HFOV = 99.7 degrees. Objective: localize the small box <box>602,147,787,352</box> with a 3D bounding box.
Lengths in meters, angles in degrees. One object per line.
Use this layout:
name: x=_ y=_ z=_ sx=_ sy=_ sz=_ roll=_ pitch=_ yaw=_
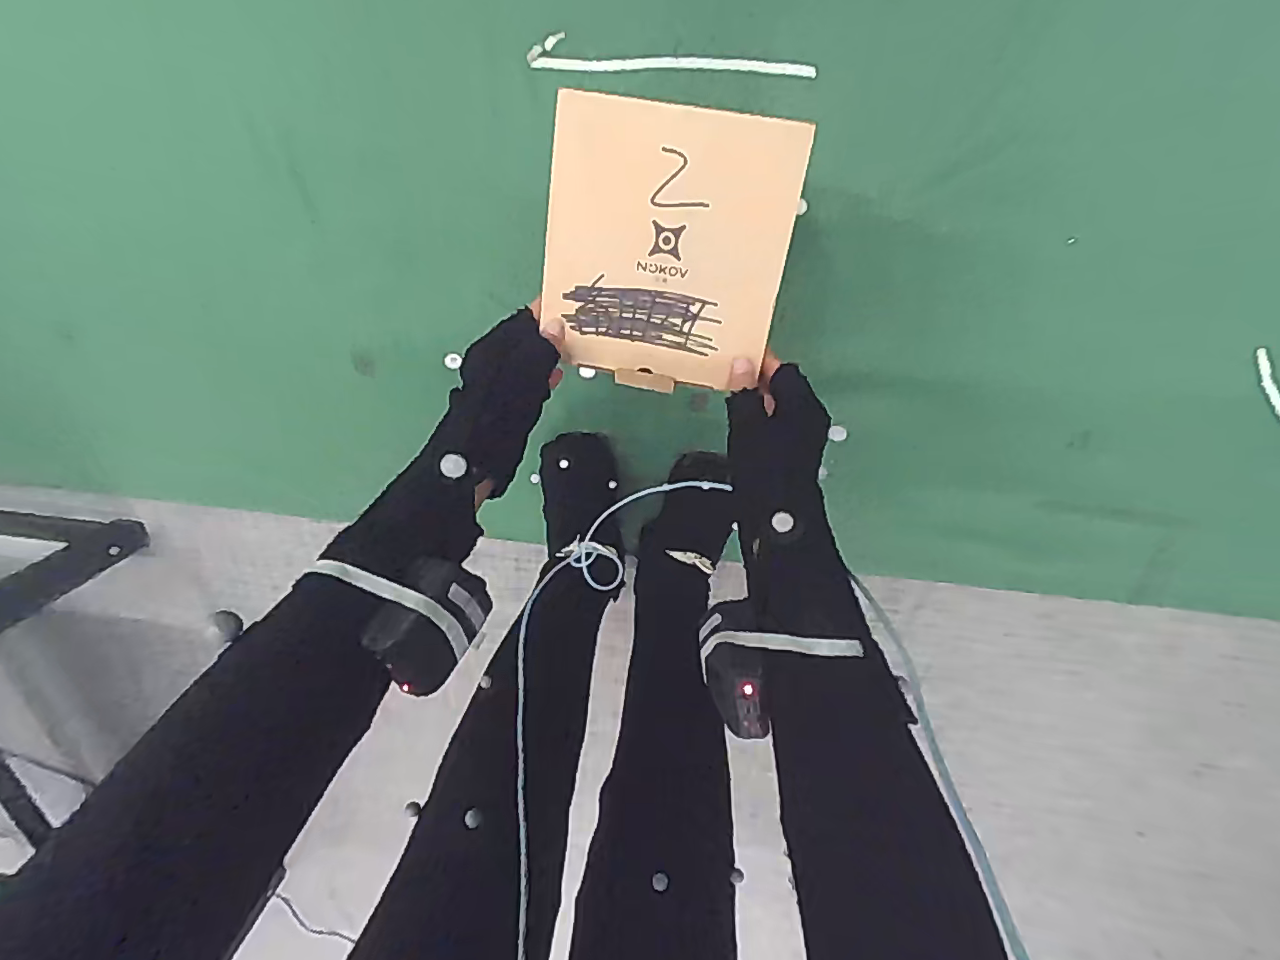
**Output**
small box: x=0.057 y=-0.256 z=0.598 sx=0.168 sy=0.176 sz=0.179 roll=7 pitch=119 yaw=5
